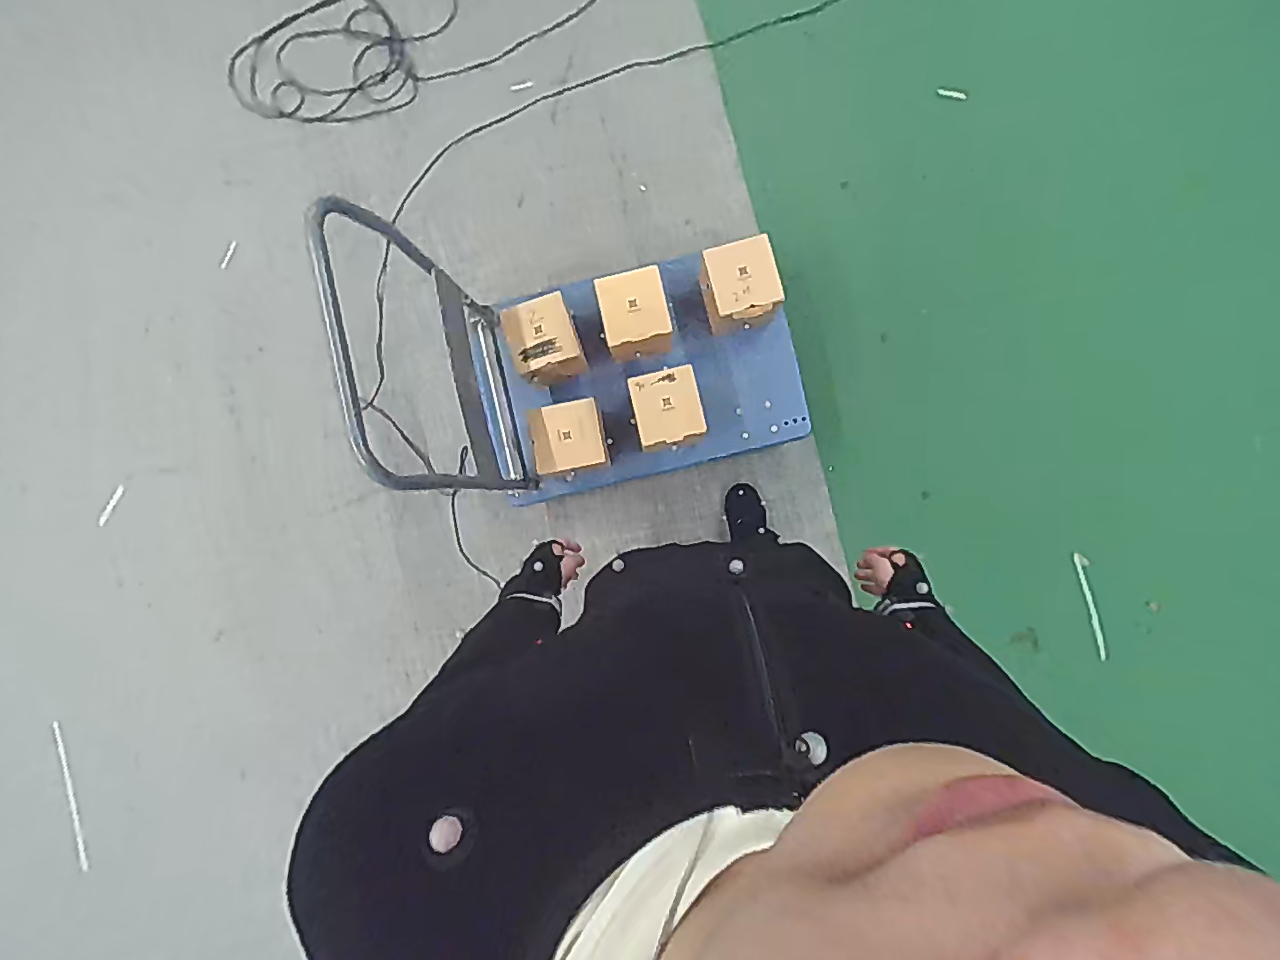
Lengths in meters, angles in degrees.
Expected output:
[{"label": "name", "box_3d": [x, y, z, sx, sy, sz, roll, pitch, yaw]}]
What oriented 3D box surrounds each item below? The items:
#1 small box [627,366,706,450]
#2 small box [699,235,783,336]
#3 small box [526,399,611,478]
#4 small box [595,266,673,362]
[{"label": "small box", "box_3d": [0.068, -0.178, 1.402, 0.168, 0.176, 0.179, -13, 87, 1]}, {"label": "small box", "box_3d": [0.256, -0.500, 1.410, 0.168, 0.176, 0.179, -15, 87, 3]}, {"label": "small box", "box_3d": [-0.180, -0.102, 1.410, 0.179, 0.176, 0.168, -11, 87, 1]}, {"label": "small box", "box_3d": [-0.015, -0.429, 1.421, 0.168, 0.176, 0.179, -13, 88, 1]}]
